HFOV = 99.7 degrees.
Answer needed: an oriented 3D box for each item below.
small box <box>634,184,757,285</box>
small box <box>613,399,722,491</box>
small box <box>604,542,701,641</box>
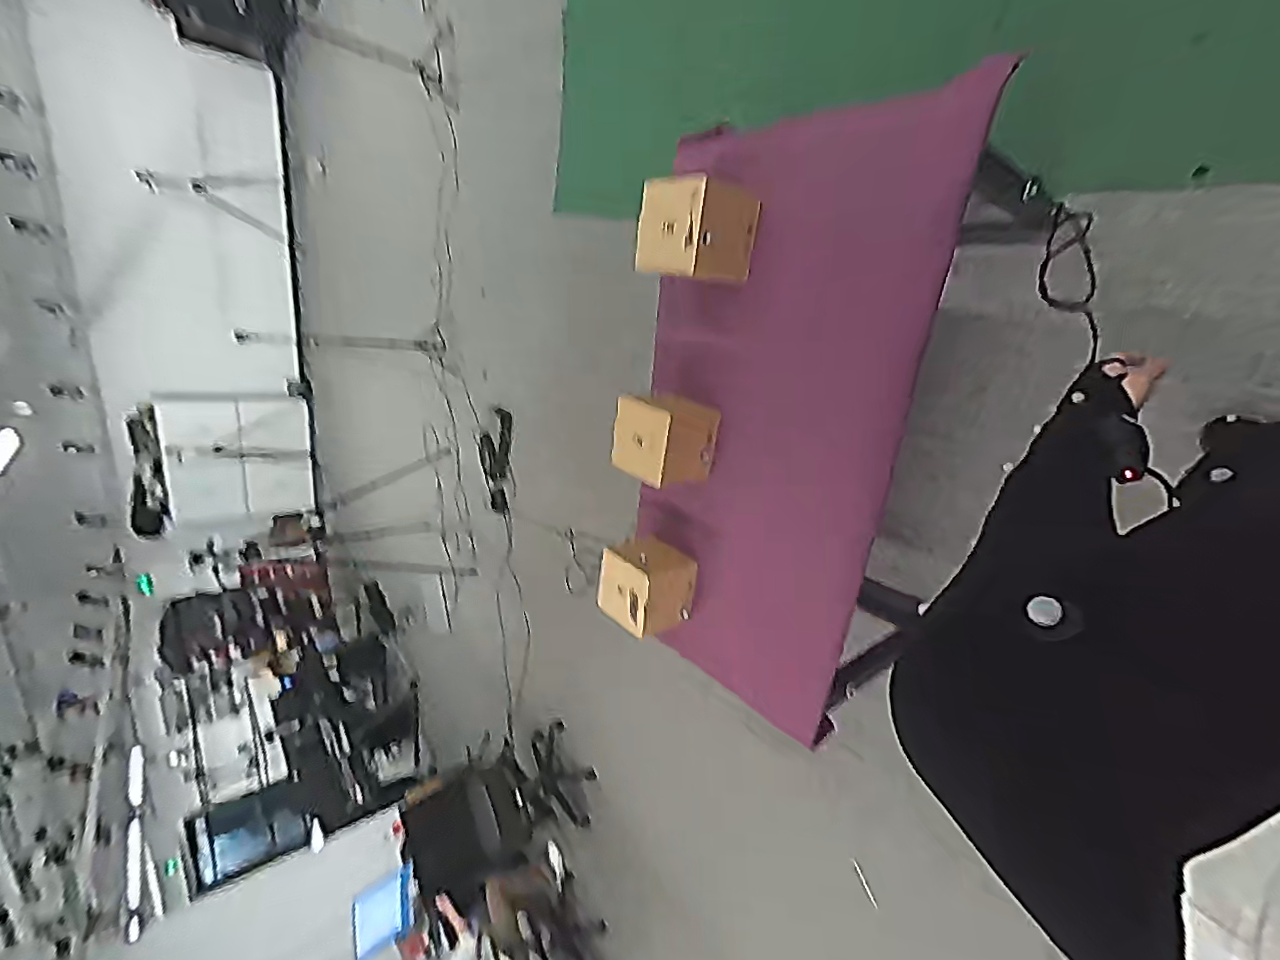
[{"bbox_3d":[0.112,-0.498,1.113,0.179,0.176,0.168,25,117,44],"label":"small box"},{"bbox_3d":[0.063,-0.090,1.259,0.179,0.176,0.168,27,118,42],"label":"small box"},{"bbox_3d":[0.031,0.271,1.366,0.179,0.176,0.168,25,115,43],"label":"small box"}]
